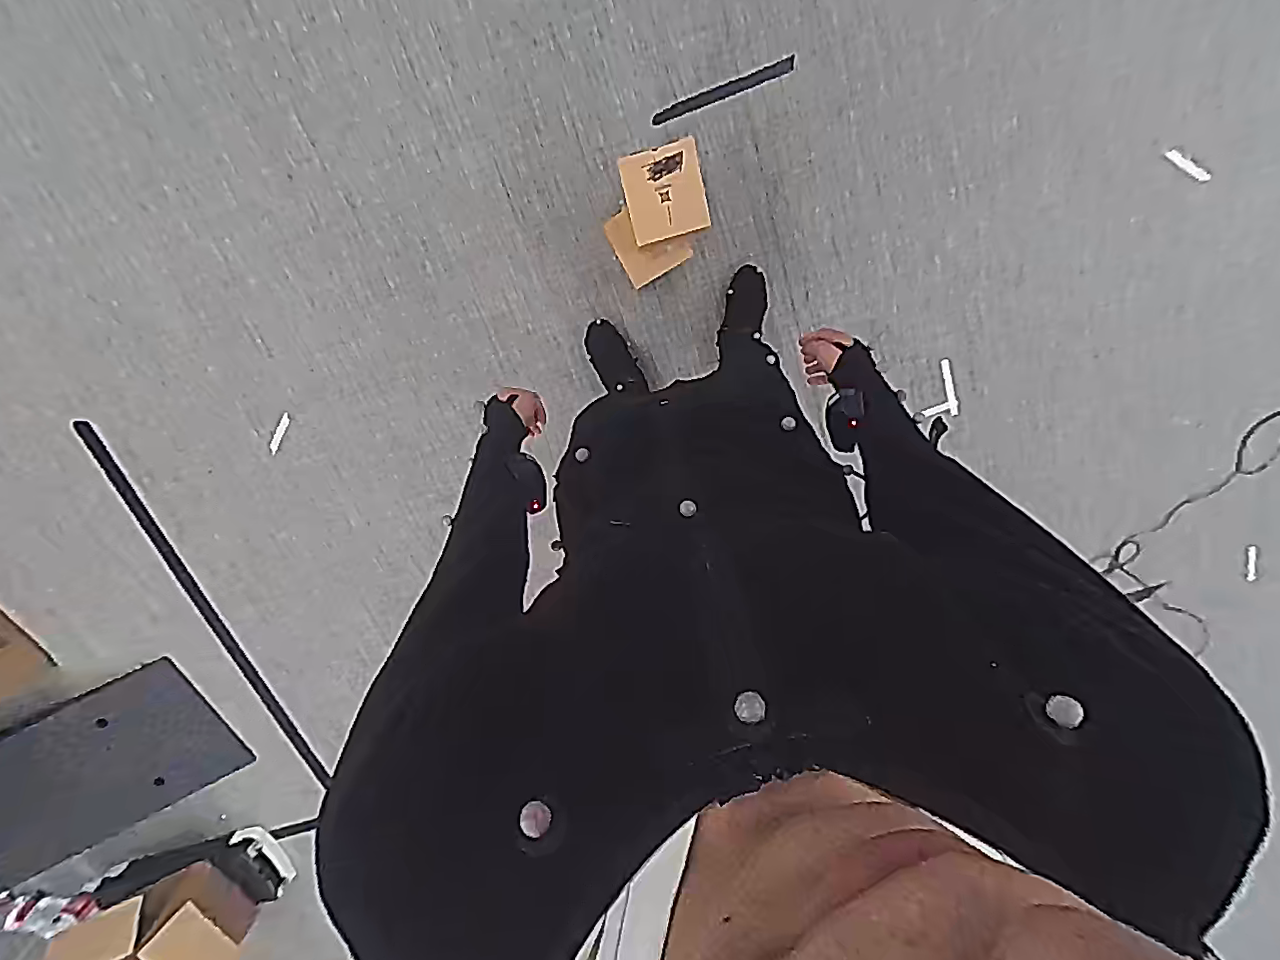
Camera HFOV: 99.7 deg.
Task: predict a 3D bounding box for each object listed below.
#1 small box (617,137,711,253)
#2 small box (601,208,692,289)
[{"bbox_3d":[0.049,-0.618,1.193,0.168,0.176,0.179,-14,108,4],"label":"small box"},{"bbox_3d":[0.014,-0.600,1.370,0.168,0.176,0.179,-28,107,8],"label":"small box"}]
